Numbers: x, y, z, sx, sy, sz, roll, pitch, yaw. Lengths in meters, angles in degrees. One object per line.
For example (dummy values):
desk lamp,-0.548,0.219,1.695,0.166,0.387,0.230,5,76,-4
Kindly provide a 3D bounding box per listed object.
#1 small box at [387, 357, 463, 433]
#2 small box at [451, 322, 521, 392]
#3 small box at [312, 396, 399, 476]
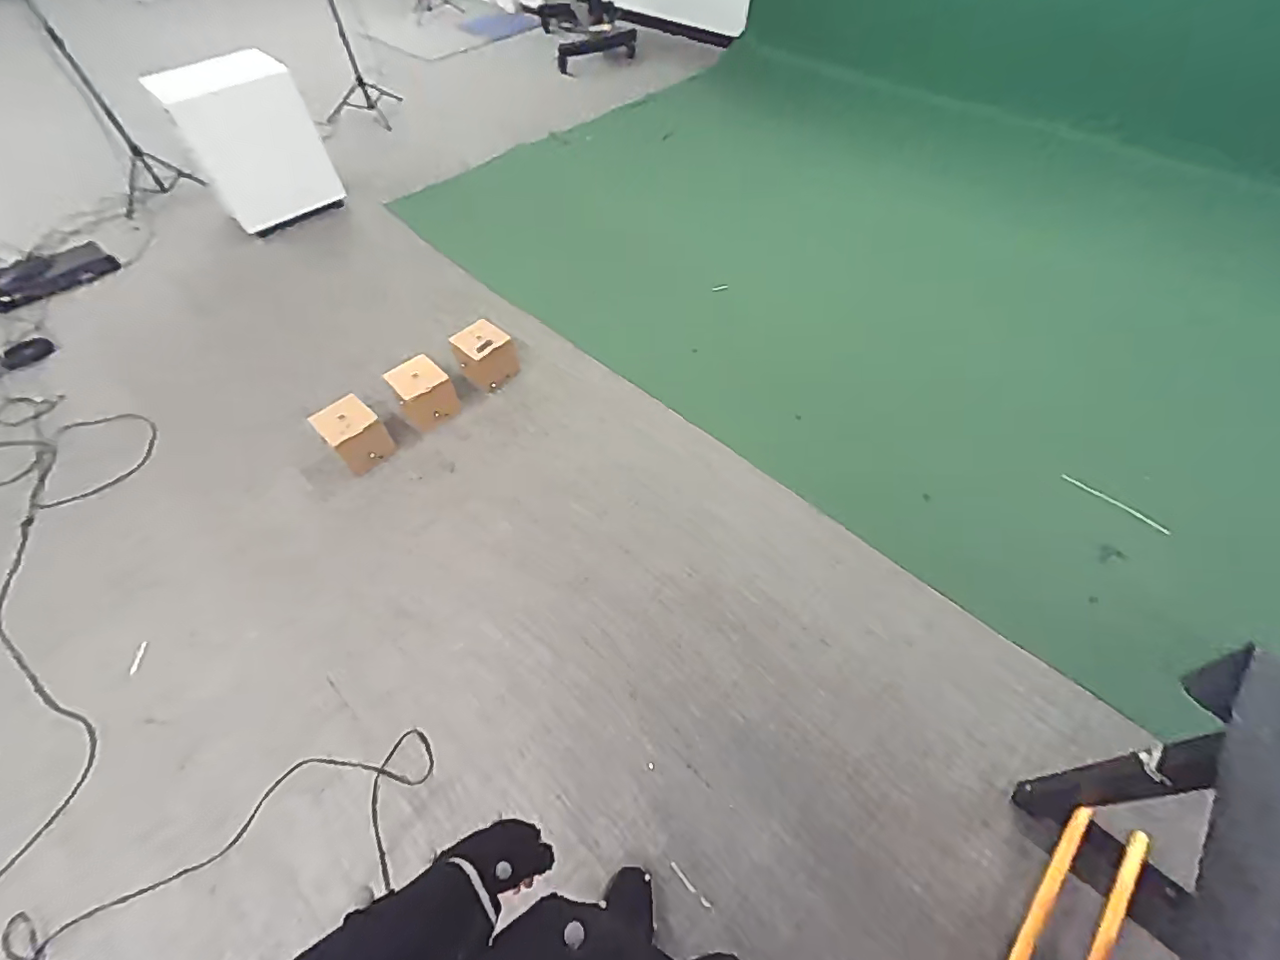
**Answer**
small box,-0.762,-0.299,1.927,0.168,0.176,0.179,-38,62,-24
small box,-0.574,-0.456,2.038,0.179,0.176,0.168,36,62,25
small box,-0.949,-0.144,1.813,0.179,0.176,0.168,38,64,24
